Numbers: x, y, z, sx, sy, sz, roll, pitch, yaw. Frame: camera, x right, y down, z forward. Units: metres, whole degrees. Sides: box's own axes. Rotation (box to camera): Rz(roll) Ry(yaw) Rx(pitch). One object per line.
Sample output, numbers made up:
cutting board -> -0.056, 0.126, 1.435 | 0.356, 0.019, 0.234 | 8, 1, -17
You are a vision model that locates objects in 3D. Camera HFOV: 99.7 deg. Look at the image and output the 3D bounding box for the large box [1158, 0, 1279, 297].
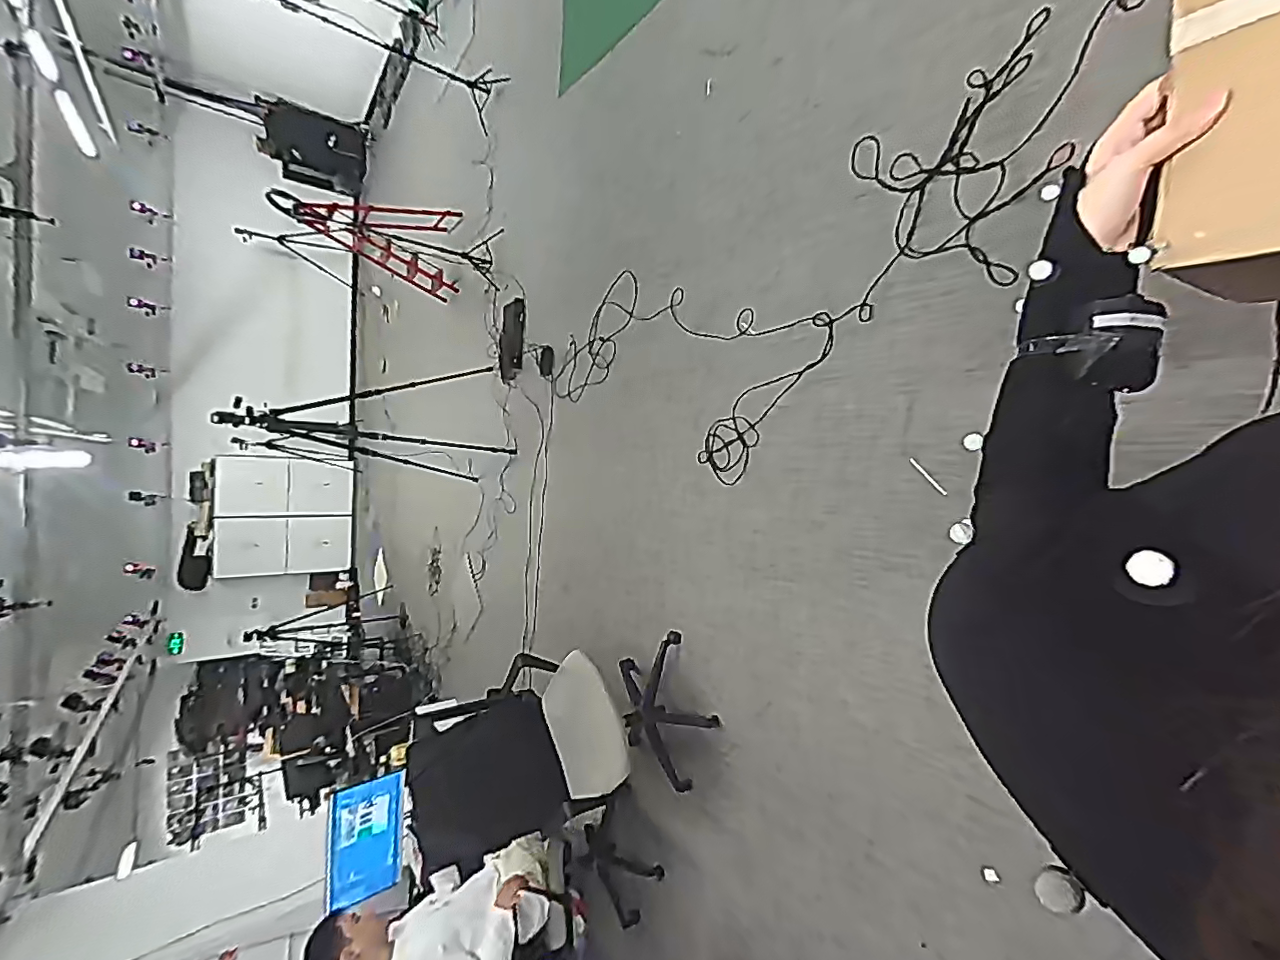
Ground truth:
large box -> 0.628, -0.308, 0.313 | 0.408, 0.320, 0.320 | 10, 104, 56
